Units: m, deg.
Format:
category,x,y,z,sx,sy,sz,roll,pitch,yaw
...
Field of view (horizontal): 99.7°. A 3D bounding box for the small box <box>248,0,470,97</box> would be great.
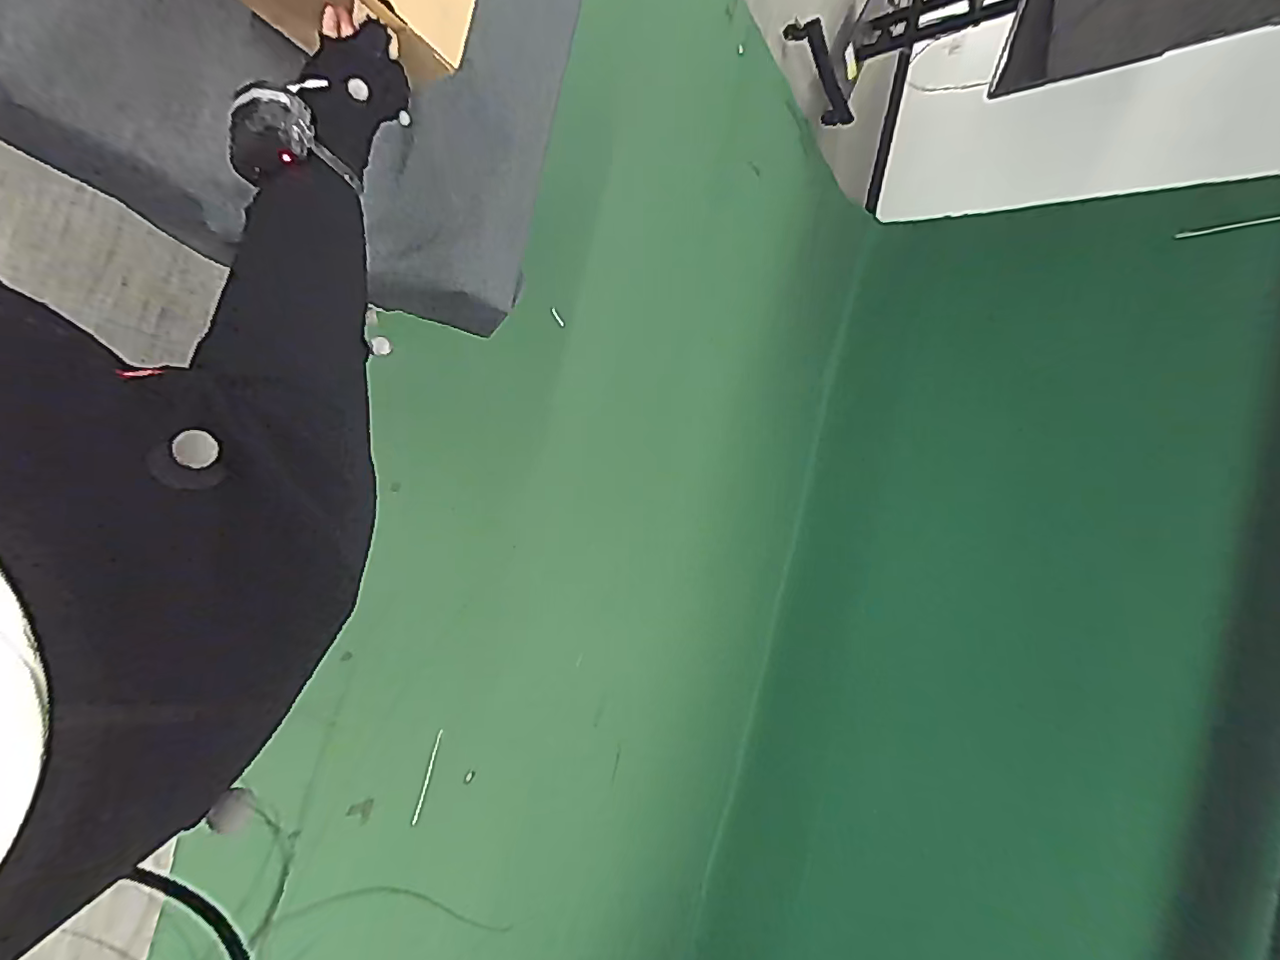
category,x,y,z,sx,sy,sz,roll,pitch,yaw
small box,-0.295,-0.549,0.566,0.168,0.176,0.179,15,89,-57
